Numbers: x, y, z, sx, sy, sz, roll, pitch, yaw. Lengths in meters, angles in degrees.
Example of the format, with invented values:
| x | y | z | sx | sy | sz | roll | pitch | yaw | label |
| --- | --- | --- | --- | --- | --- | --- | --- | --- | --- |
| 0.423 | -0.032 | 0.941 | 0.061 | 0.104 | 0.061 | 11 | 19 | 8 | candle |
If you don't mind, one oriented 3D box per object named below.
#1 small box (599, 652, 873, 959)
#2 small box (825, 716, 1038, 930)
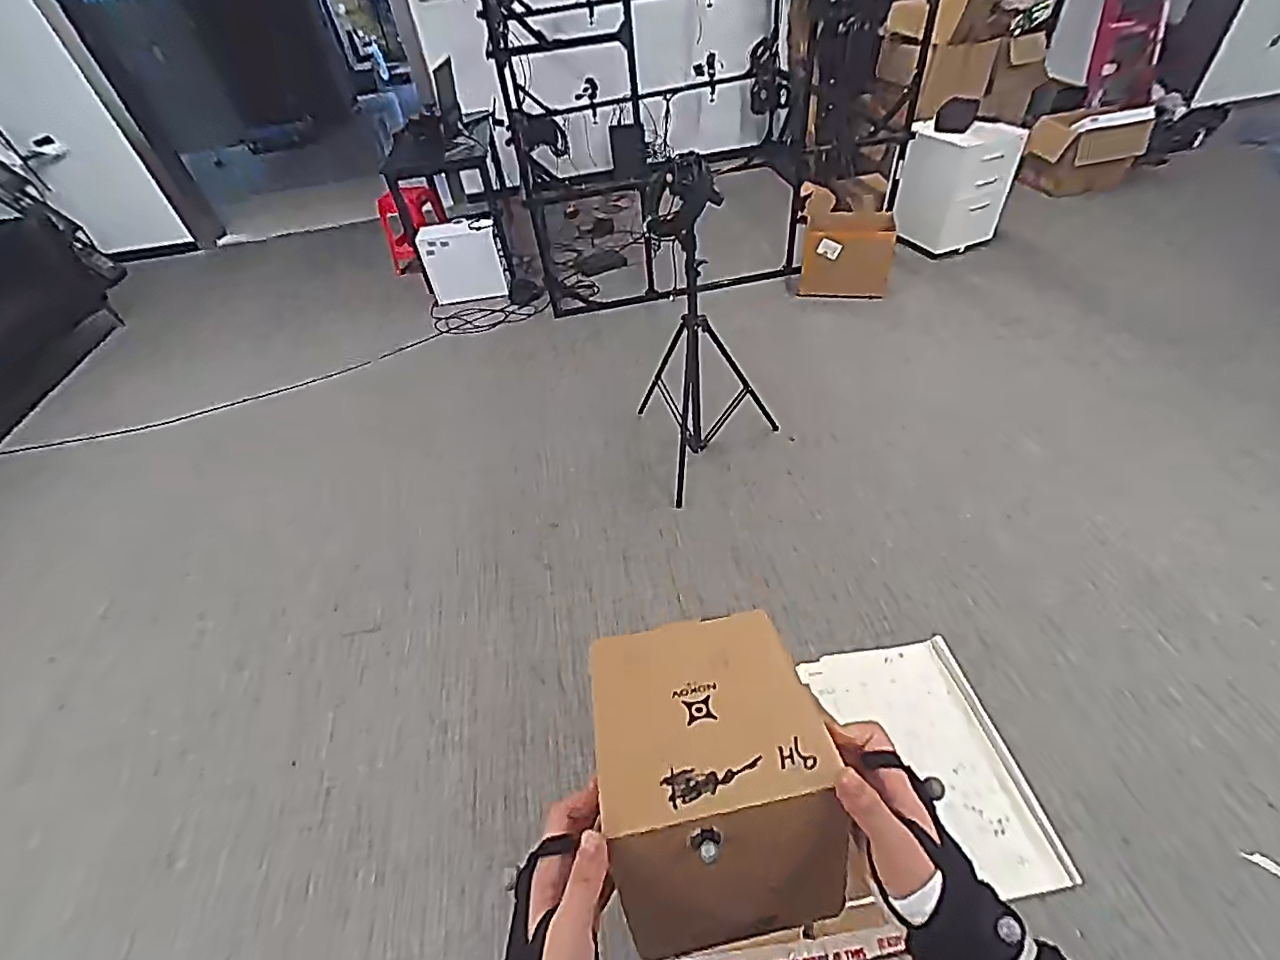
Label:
| x | y | z | sx | sy | sz | roll | pitch | yaw | label |
| --- | --- | --- | --- | --- | --- | --- | --- | --- | --- |
| 0.063 | 0.274 | 0.435 | 0.168 | 0.176 | 0.179 | -11 | 27 | -3 | small box |
| 0.316 | 0.417 | 0.658 | 0.168 | 0.176 | 0.179 | -8 | 47 | -3 | small box |
